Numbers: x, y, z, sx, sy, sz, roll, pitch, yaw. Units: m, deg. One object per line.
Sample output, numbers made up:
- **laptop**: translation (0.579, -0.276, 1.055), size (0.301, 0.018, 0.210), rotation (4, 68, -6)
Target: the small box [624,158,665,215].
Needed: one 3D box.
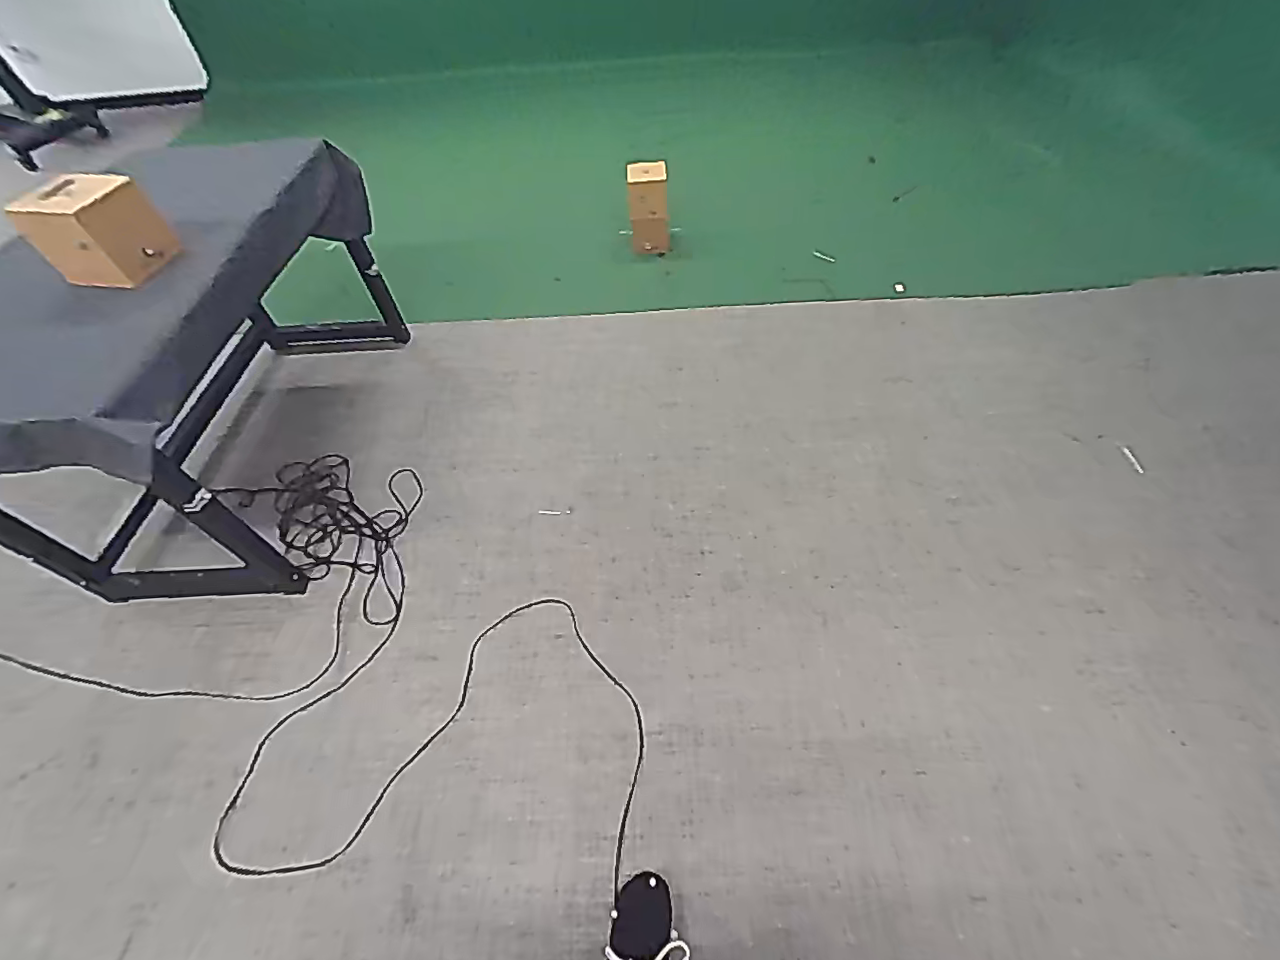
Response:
- **small box**: translation (0.022, -1.279, 2.365), size (0.168, 0.176, 0.179), rotation (-4, 52, 2)

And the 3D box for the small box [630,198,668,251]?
- **small box**: translation (0.042, -1.184, 2.496), size (0.168, 0.176, 0.179), rotation (-4, 53, 3)
